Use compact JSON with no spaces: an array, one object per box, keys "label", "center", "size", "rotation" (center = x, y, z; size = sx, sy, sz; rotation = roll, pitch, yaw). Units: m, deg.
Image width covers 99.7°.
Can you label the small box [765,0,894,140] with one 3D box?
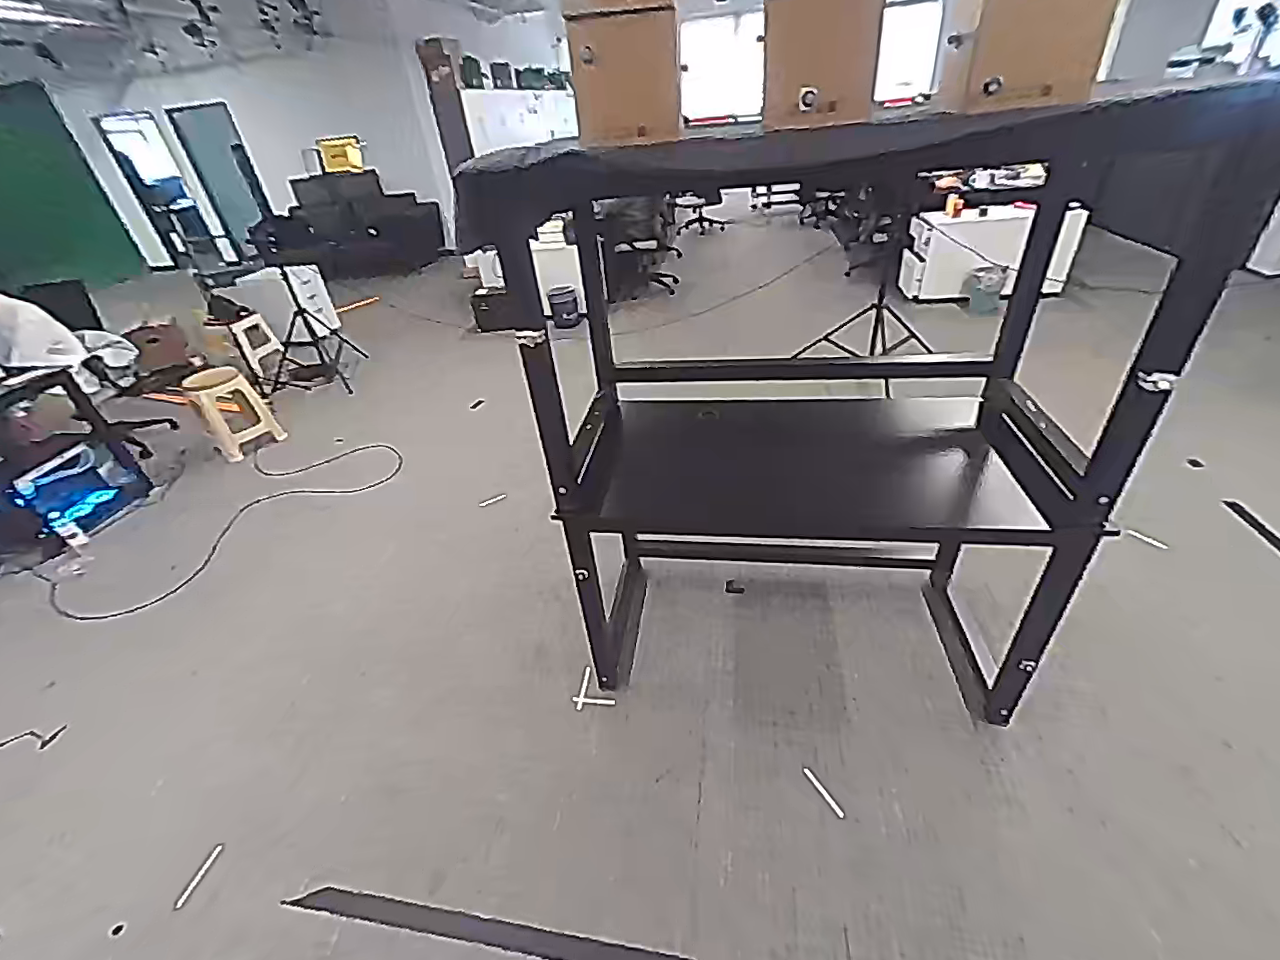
[{"label":"small box","center":[0.283,-0.634,0.839],"size":[0.168,0.176,0.179],"rotation":[2,34,13]}]

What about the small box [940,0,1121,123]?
[{"label":"small box","center":[0.563,-0.634,0.792],"size":[0.168,0.176,0.179],"rotation":[2,34,12]}]

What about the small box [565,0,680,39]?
[{"label":"small box","center":[-0.026,-0.772,0.795],"size":[0.168,0.176,0.179],"rotation":[-1,34,4]}]
